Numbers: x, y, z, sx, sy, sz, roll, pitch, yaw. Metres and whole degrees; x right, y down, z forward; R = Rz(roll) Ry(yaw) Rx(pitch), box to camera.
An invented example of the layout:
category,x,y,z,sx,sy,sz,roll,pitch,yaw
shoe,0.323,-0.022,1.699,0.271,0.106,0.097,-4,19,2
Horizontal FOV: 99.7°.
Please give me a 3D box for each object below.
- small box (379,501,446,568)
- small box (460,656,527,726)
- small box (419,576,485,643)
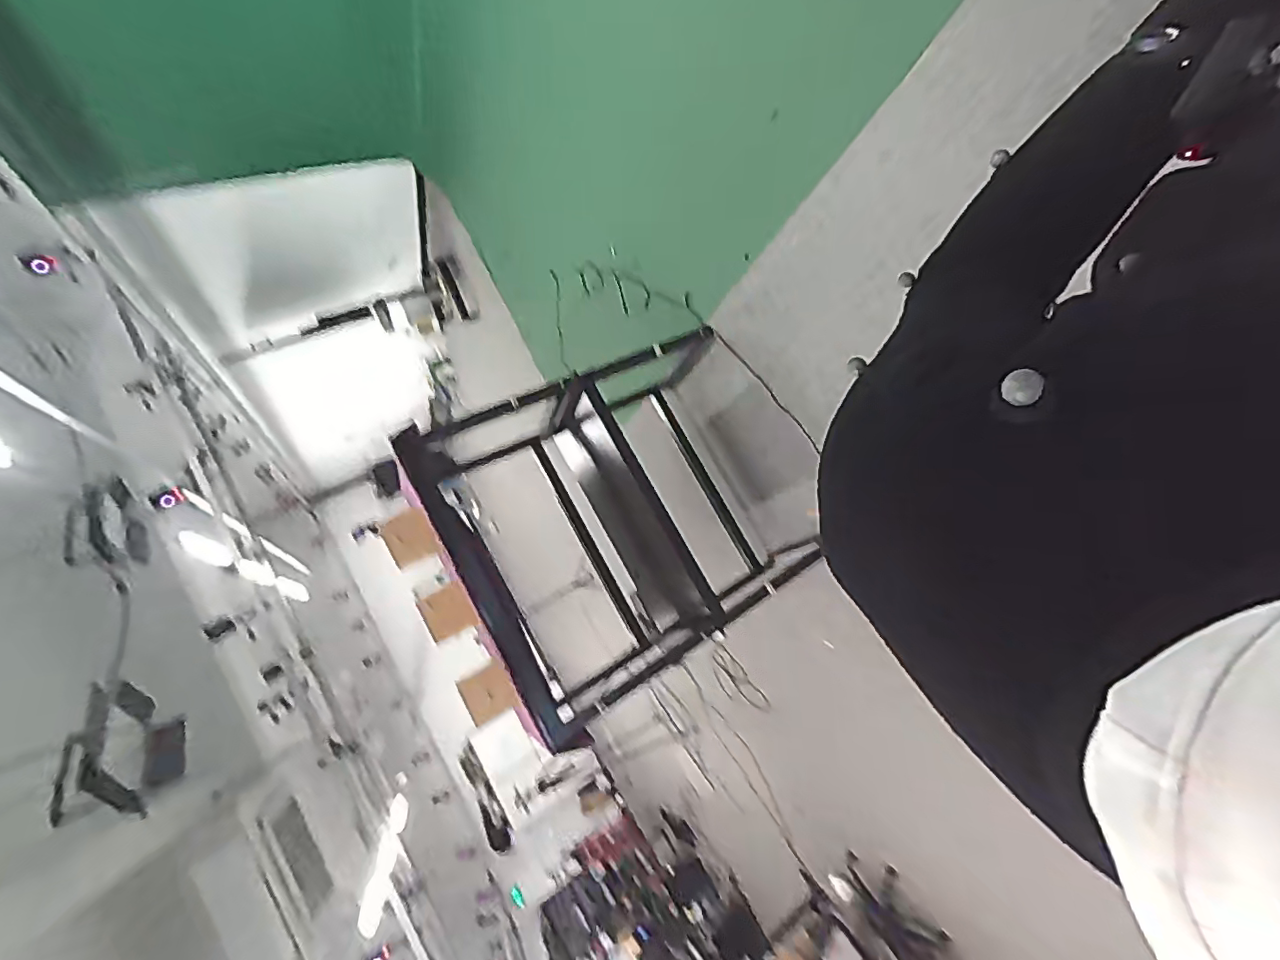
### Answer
category,x,y,z,sx,sy,sz,roll,pitch,yaw
small box,-0.821,0.201,1.971,0.179,0.176,0.168,61,156,3
small box,-0.517,0.732,1.899,0.179,0.176,0.168,59,156,8
small box,-0.670,0.467,1.943,0.179,0.176,0.168,60,156,7
